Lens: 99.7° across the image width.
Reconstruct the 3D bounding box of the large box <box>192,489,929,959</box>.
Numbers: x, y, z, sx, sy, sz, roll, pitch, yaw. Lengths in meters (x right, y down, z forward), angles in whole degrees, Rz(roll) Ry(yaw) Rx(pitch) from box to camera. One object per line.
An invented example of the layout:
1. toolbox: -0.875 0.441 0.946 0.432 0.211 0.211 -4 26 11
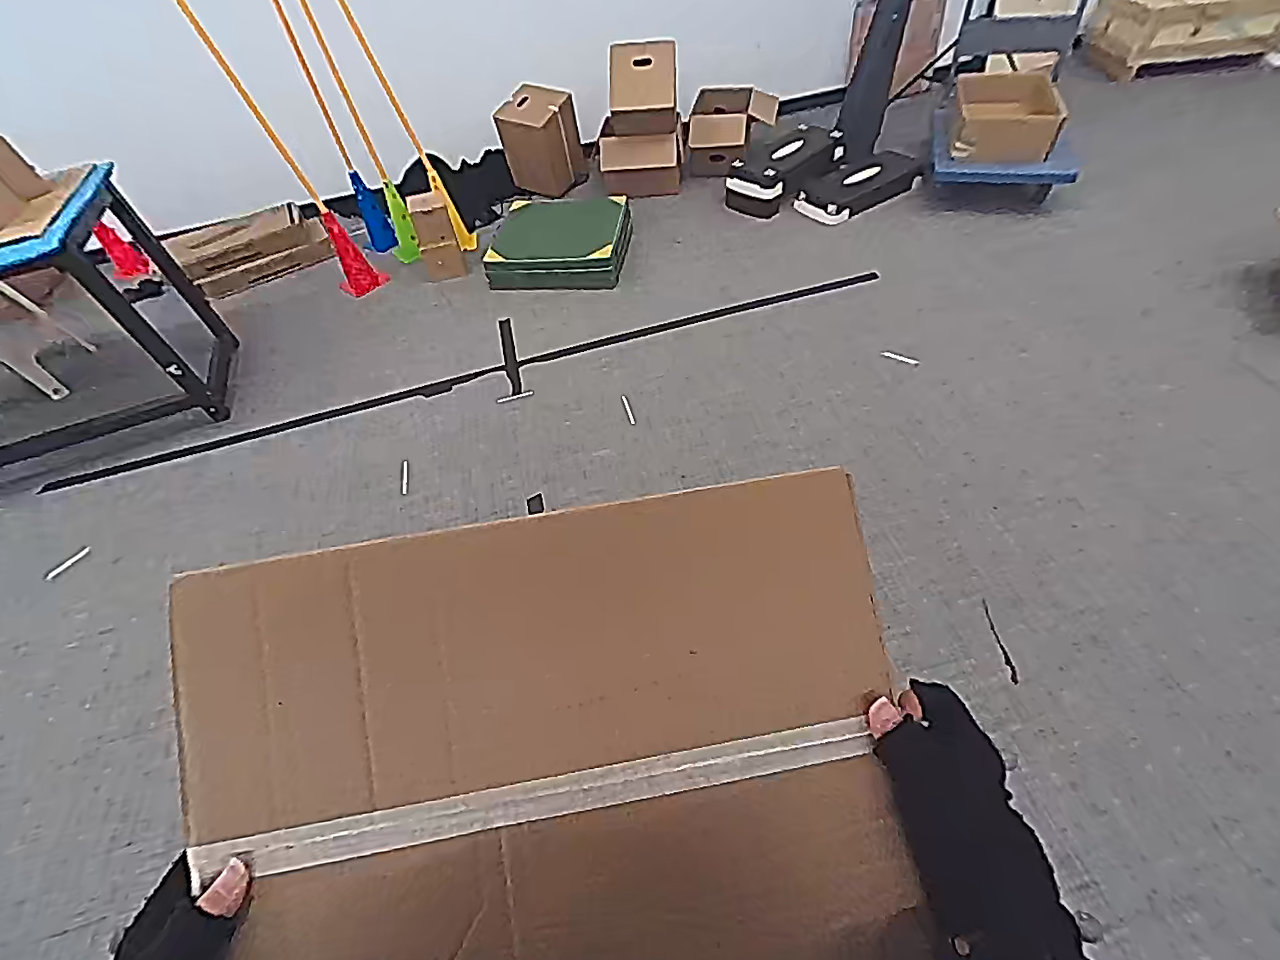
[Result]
1. large box: -0.052 0.203 0.468 0.408 0.320 0.320 -10 84 -3
